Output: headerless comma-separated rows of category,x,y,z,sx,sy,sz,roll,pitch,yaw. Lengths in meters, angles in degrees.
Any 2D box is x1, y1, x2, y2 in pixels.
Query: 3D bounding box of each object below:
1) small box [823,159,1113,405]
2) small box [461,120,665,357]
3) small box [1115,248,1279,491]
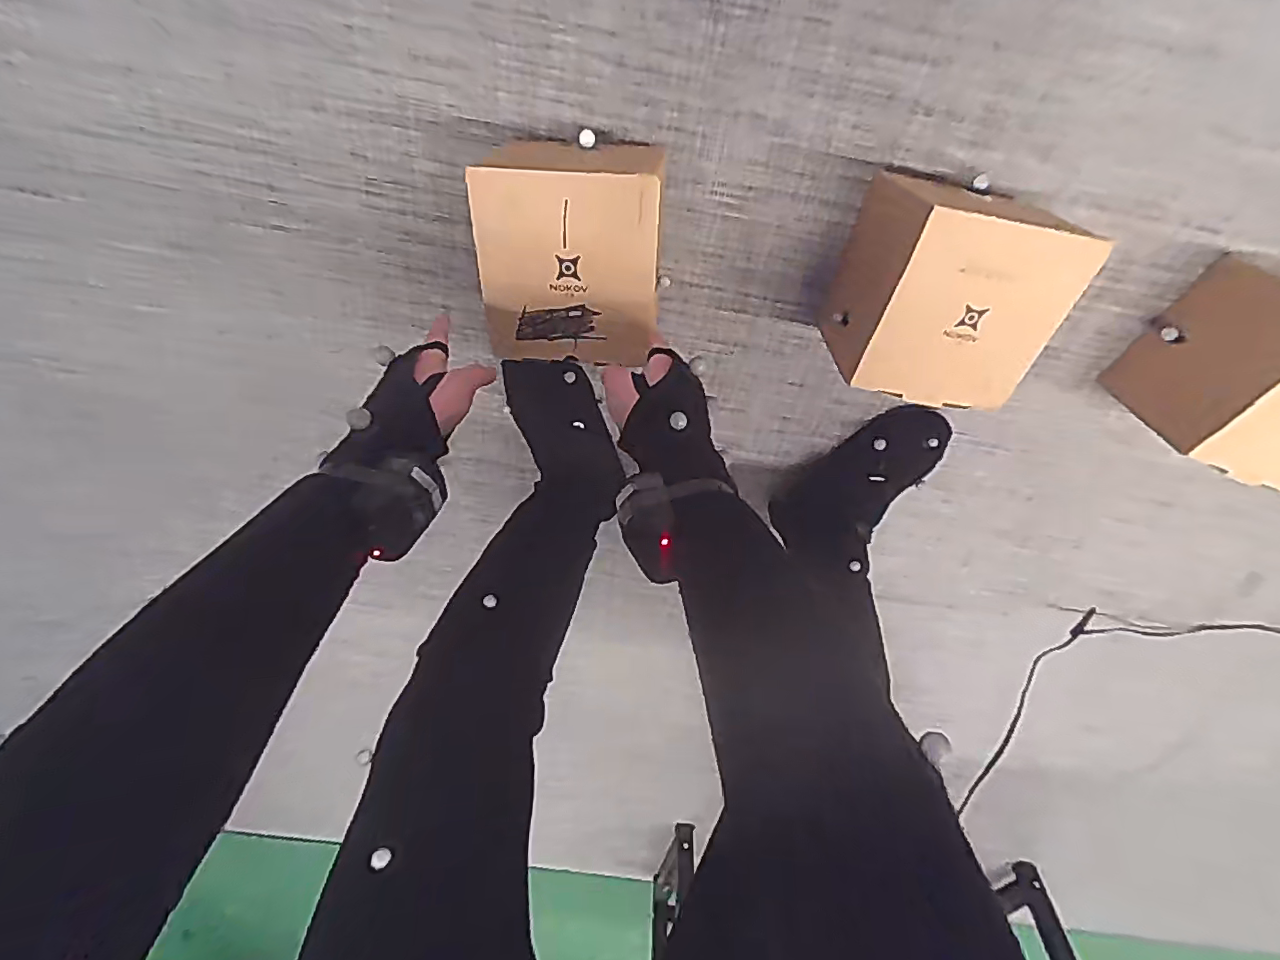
small box,0.306,-0.206,0.558,0.168,0.176,0.179,9,129,-4
small box,-0.063,-0.247,0.551,0.168,0.176,0.179,4,130,1
small box,0.685,-0.121,0.595,0.168,0.176,0.179,18,130,-9
